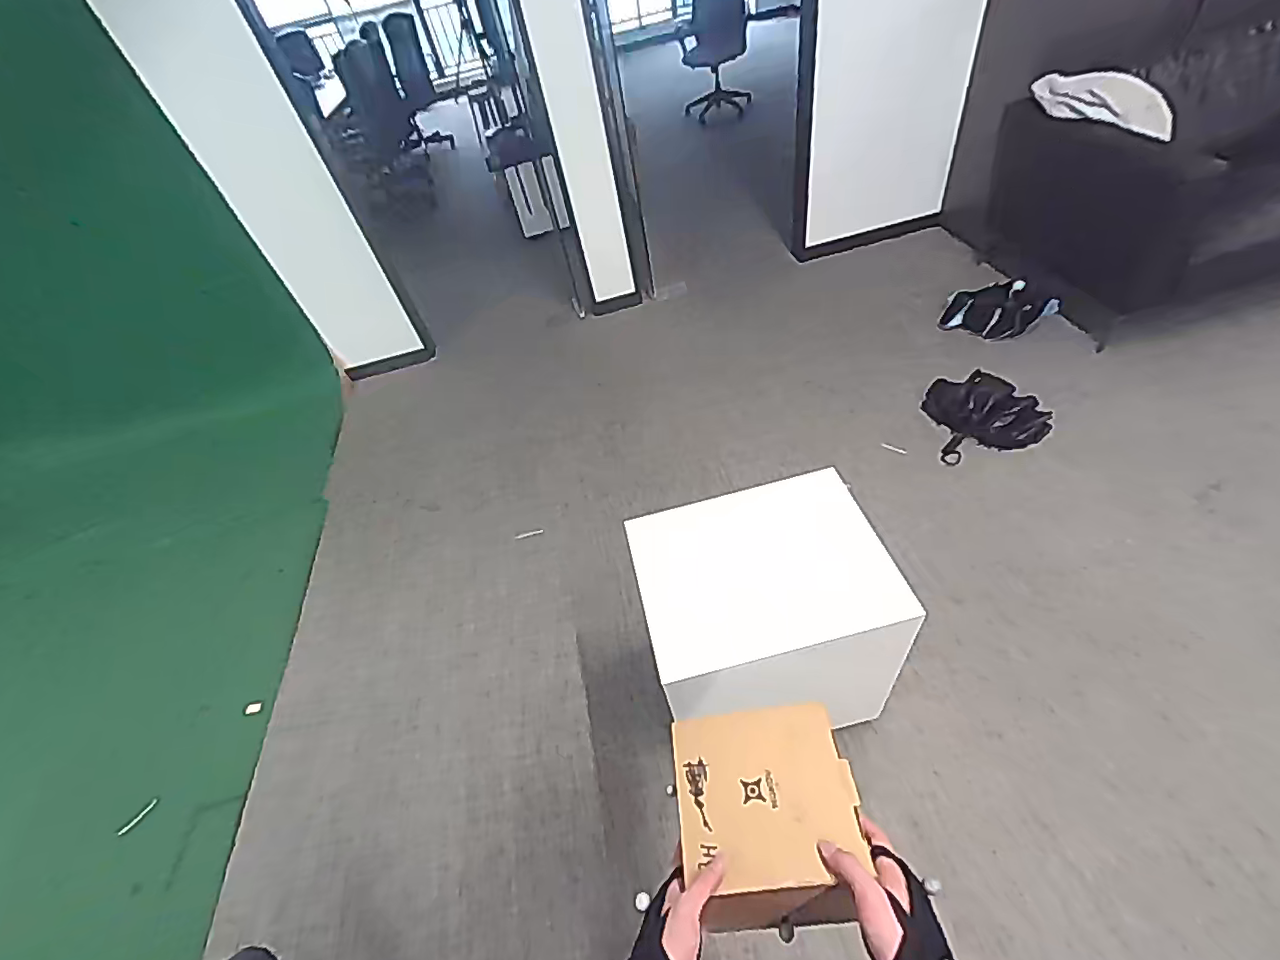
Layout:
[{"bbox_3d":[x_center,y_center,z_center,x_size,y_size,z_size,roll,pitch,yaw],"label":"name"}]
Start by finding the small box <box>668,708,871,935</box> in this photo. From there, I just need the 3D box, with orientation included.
[{"bbox_3d":[0.131,0.376,0.595,0.179,0.176,0.168,-9,39,5],"label":"small box"}]
